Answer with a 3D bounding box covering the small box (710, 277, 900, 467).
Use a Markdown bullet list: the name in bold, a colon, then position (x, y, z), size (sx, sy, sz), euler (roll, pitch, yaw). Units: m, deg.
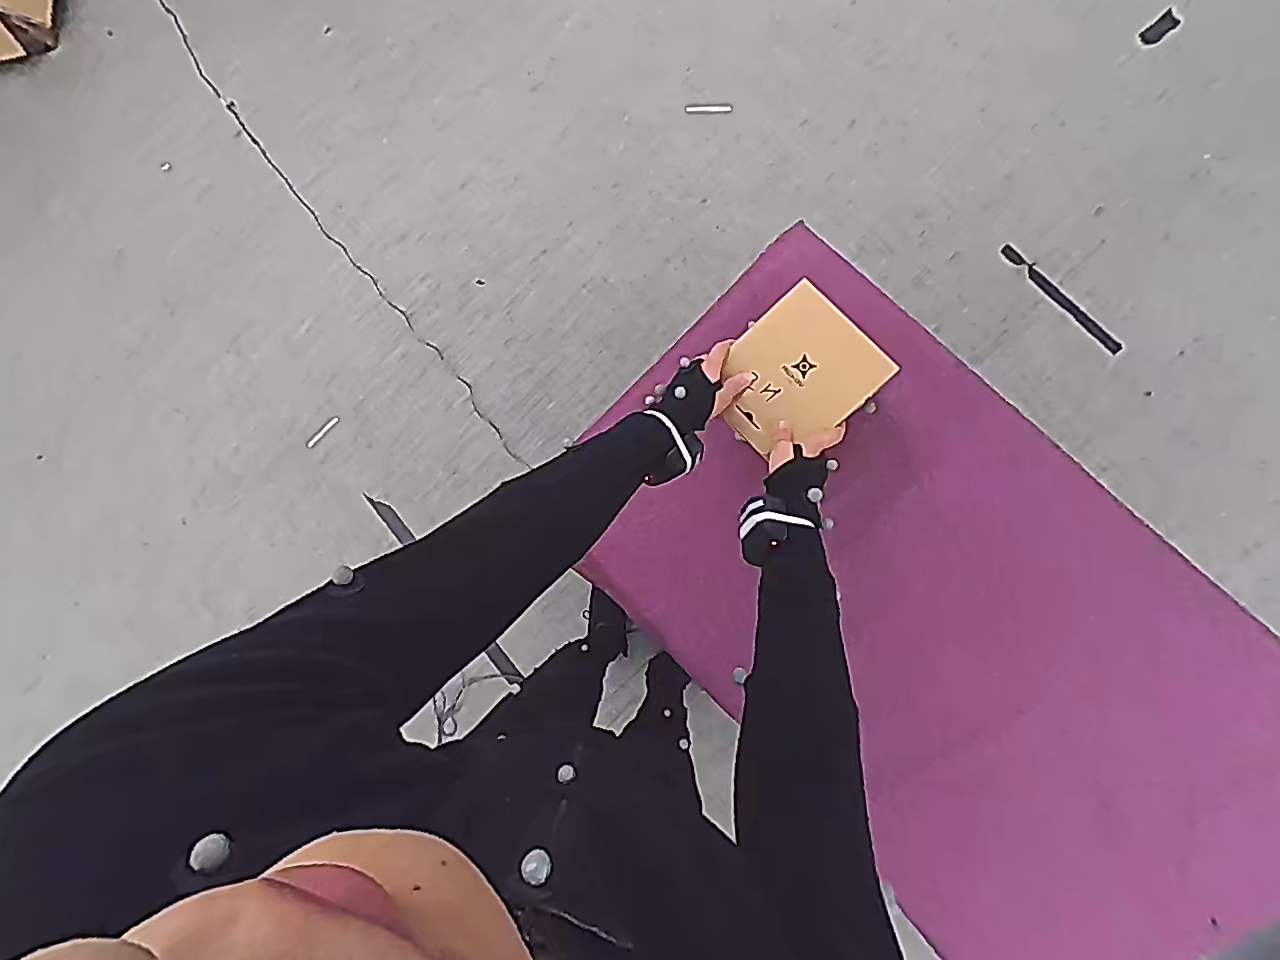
- **small box**: position (0.214, -0.136, 0.750), size (0.179, 0.176, 0.168), euler (-42, 80, 5)
